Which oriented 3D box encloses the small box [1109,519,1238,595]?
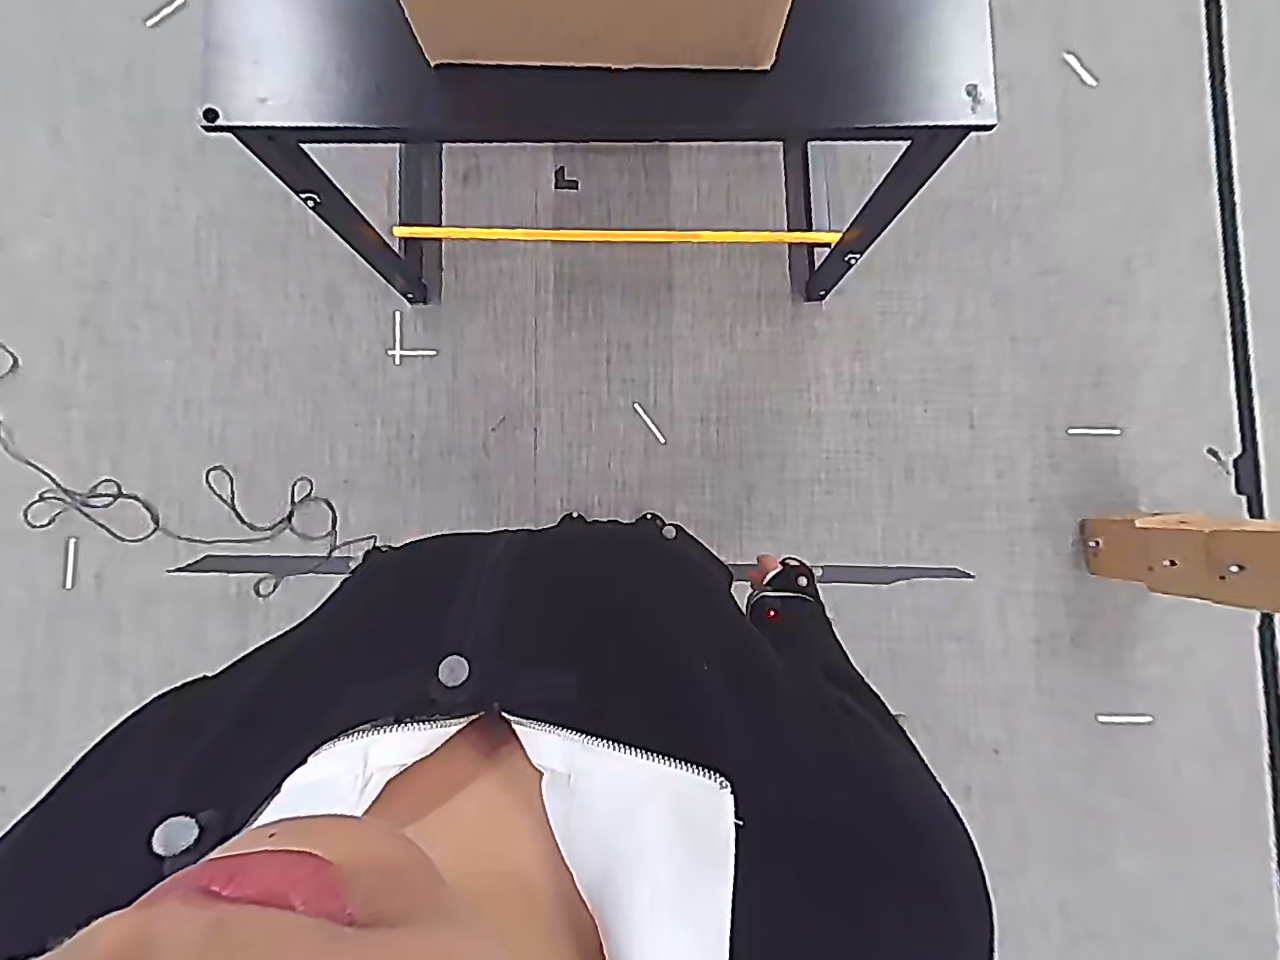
[{"bbox_3d":[1.356,0.189,1.373,0.179,0.176,0.168,-7,86,0],"label":"small box"}]

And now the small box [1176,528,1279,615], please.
[{"bbox_3d":[1.359,0.198,1.208,0.179,0.176,0.168,-8,87,-1],"label":"small box"}]

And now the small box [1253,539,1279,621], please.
[{"bbox_3d":[1.366,0.197,1.043,0.179,0.176,0.168,-3,86,-1],"label":"small box"}]
